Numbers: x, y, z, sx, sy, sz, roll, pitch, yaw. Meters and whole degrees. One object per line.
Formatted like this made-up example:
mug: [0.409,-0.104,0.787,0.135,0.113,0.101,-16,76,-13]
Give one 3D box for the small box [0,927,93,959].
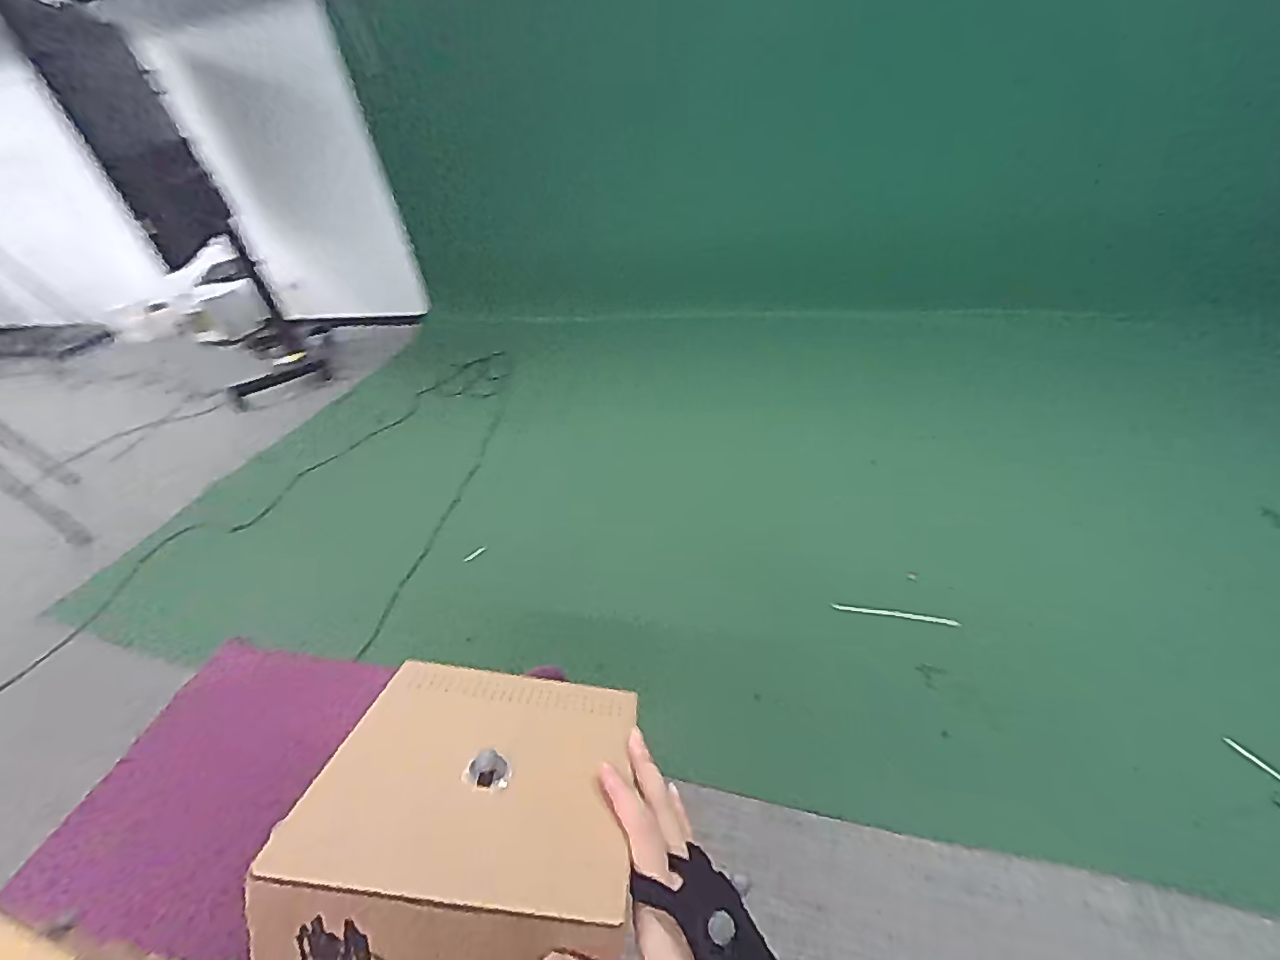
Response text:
small box: [-0.505,0.470,0.409,0.179,0.176,0.168,4,40,15]
